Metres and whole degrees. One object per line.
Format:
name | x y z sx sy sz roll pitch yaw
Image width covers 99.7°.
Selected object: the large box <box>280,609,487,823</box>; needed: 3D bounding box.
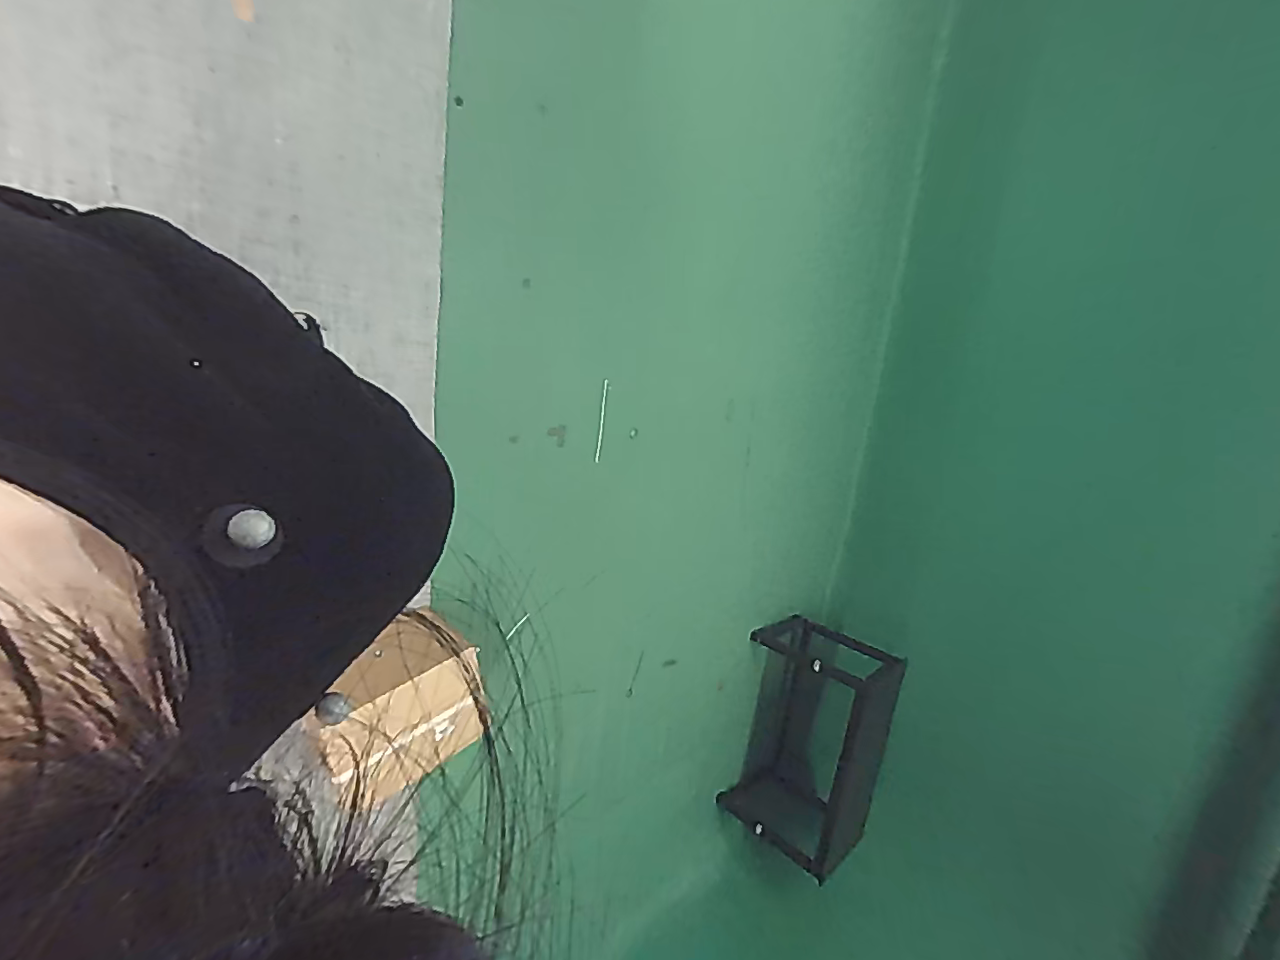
large box | -0.708 0.630 1.521 0.408 0.320 0.320 -23 120 -42
